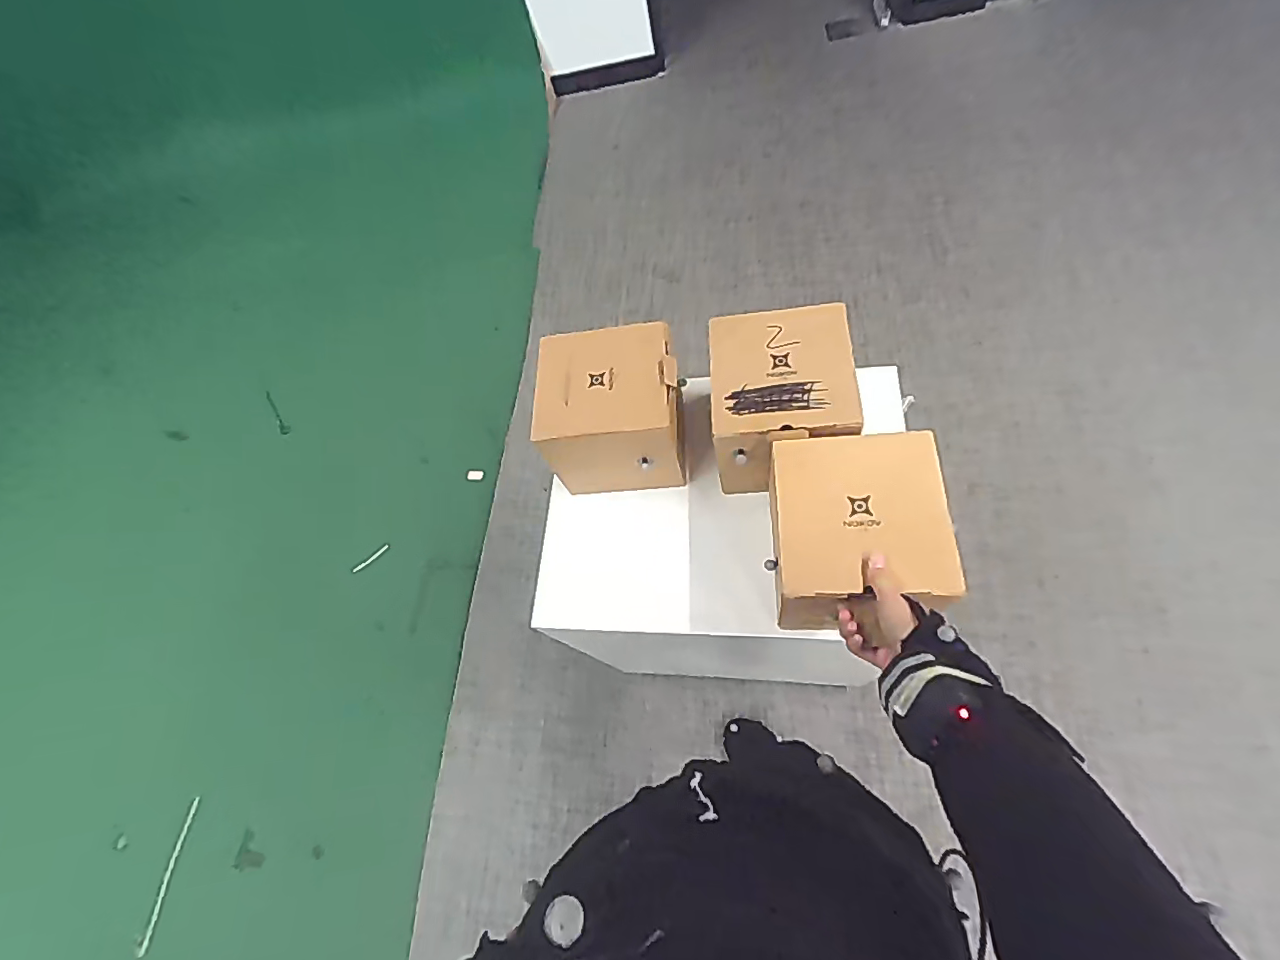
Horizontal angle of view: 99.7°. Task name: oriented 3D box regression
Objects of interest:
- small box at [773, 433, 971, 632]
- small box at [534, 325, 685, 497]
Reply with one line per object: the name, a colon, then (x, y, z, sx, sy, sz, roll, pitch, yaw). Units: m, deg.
small box: (0.241, 0.066, 0.613, 0.168, 0.176, 0.179, -3, 64, 11)
small box: (-0.030, -0.087, 0.752, 0.179, 0.176, 0.168, -5, 62, 10)
